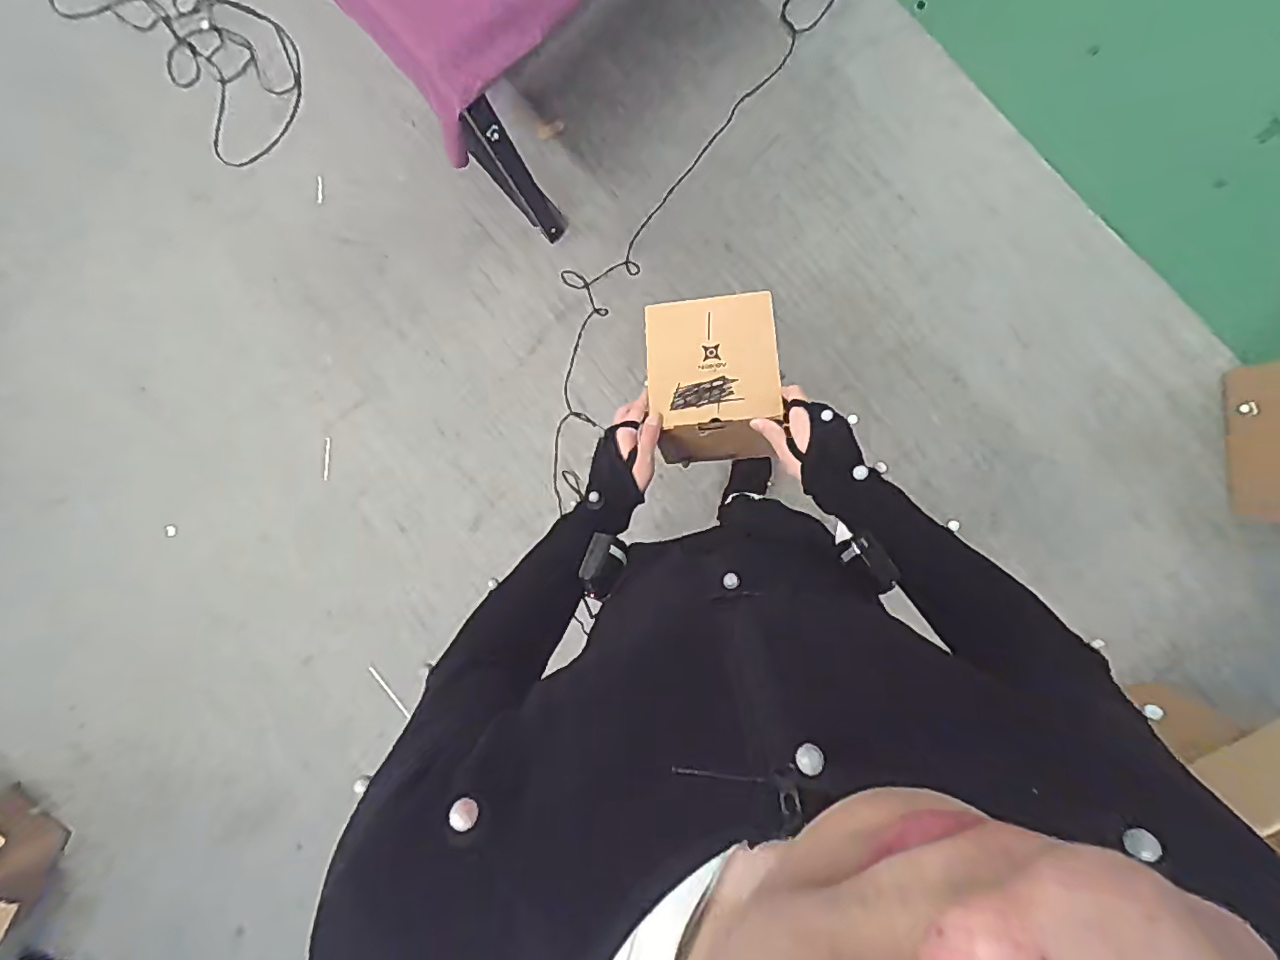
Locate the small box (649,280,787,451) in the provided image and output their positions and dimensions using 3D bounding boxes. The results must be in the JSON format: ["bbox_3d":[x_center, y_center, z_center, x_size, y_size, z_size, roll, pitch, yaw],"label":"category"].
[{"bbox_3d":[0.108,-0.143,0.747,0.168,0.176,0.179,-4,75,9],"label":"small box"}]

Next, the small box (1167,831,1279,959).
[{"bbox_3d":[1.161,0.807,1.000,0.168,0.176,0.179,-32,85,6],"label":"small box"}]

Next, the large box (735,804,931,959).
[{"bbox_3d":[0.496,1.134,1.437,0.408,0.320,0.320,-16,89,6],"label":"large box"}]
